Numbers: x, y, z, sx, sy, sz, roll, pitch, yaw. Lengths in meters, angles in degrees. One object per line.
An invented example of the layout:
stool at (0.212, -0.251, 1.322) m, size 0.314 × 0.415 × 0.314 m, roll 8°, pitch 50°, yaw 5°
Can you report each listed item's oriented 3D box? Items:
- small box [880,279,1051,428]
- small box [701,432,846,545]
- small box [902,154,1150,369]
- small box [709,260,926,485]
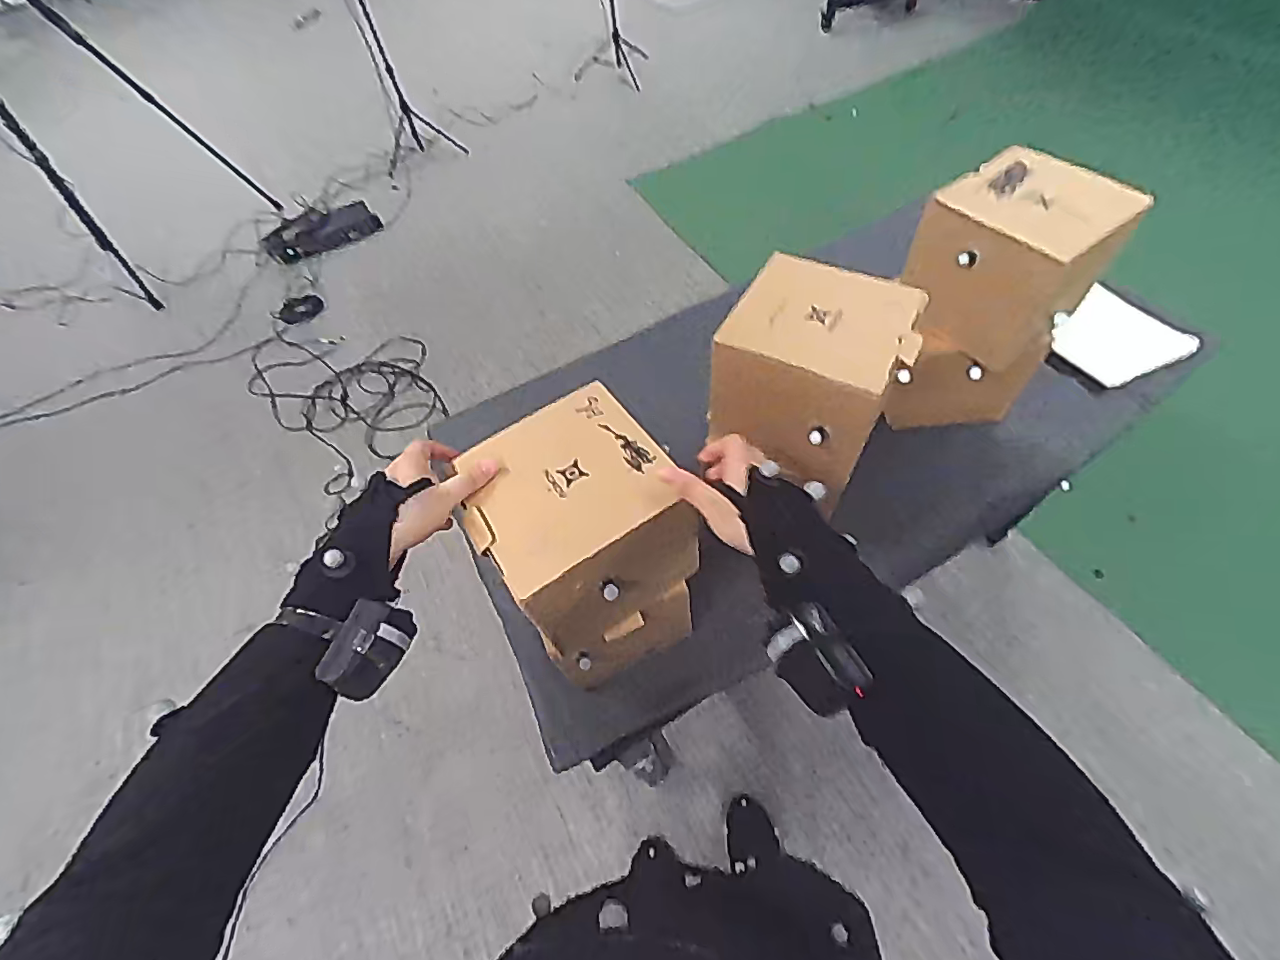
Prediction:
small box at (0.478, -0.198, 0.844) m, size 0.179 × 0.176 × 0.168 m, roll -5°, pitch 56°, yaw 4°
small box at (0.191, -0.027, 0.764) m, size 0.179 × 0.176 × 0.168 m, roll 14°, pitch 59°, yaw 15°
small box at (0.472, -0.278, 0.700) m, size 0.168 × 0.176 × 0.179 m, roll -33°, pitch 60°, yaw -14°
small box at (0.194, -0.119, 0.628) m, size 0.179 × 0.176 × 0.168 m, roll 24°, pitch 61°, yaw 21°
